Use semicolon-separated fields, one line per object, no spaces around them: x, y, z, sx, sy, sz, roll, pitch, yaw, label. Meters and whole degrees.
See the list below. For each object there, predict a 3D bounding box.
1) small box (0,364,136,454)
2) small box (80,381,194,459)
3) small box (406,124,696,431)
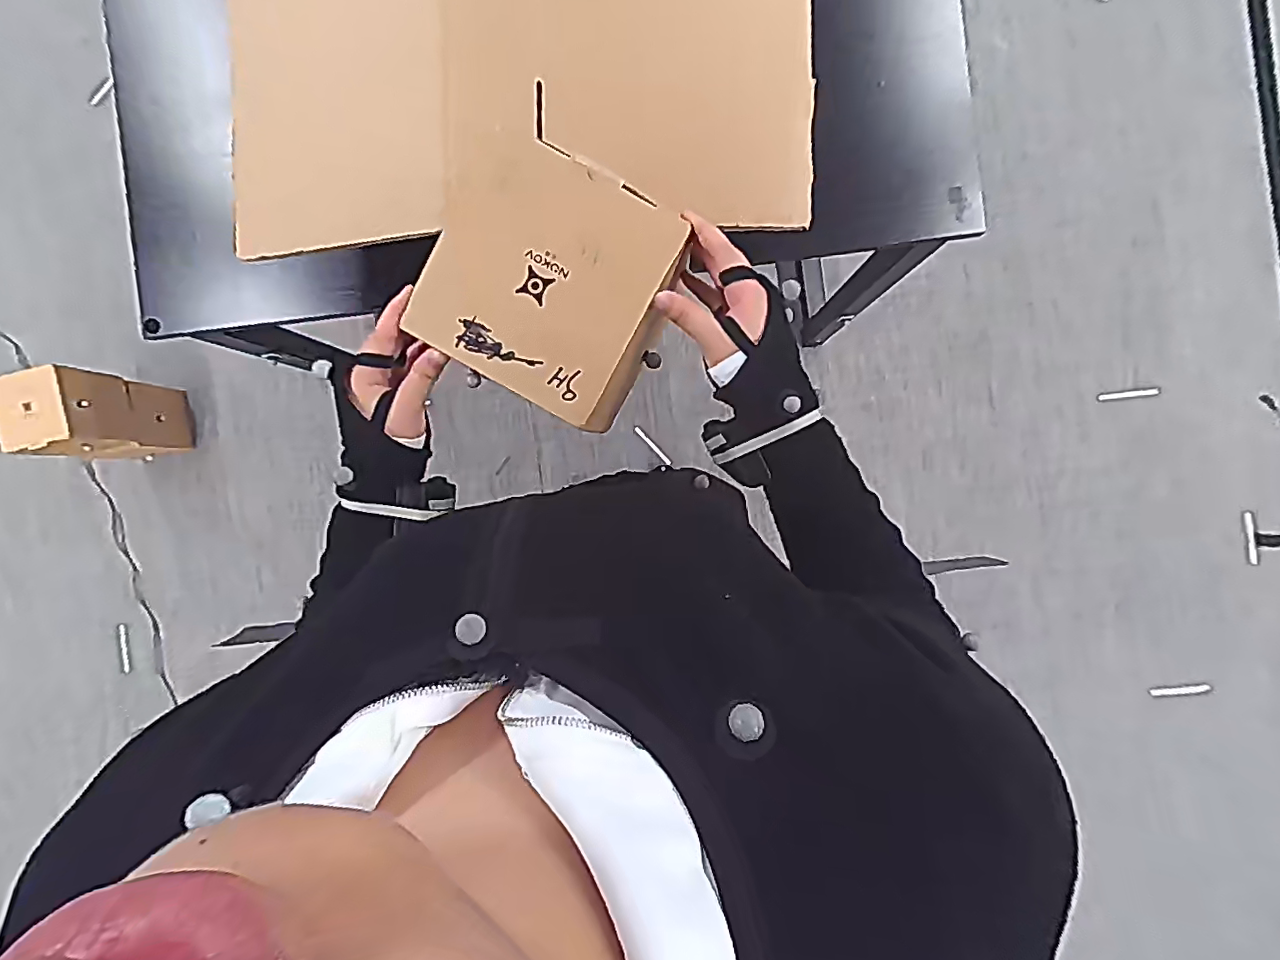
-1.374;-0.161;1.301;0.168;0.176;0.179;-13;88;1;small box
-1.365;-0.156;1.463;0.168;0.176;0.179;-10;91;2;small box
-0.067;-0.158;0.490;0.168;0.176;0.179;29;94;1;small box
